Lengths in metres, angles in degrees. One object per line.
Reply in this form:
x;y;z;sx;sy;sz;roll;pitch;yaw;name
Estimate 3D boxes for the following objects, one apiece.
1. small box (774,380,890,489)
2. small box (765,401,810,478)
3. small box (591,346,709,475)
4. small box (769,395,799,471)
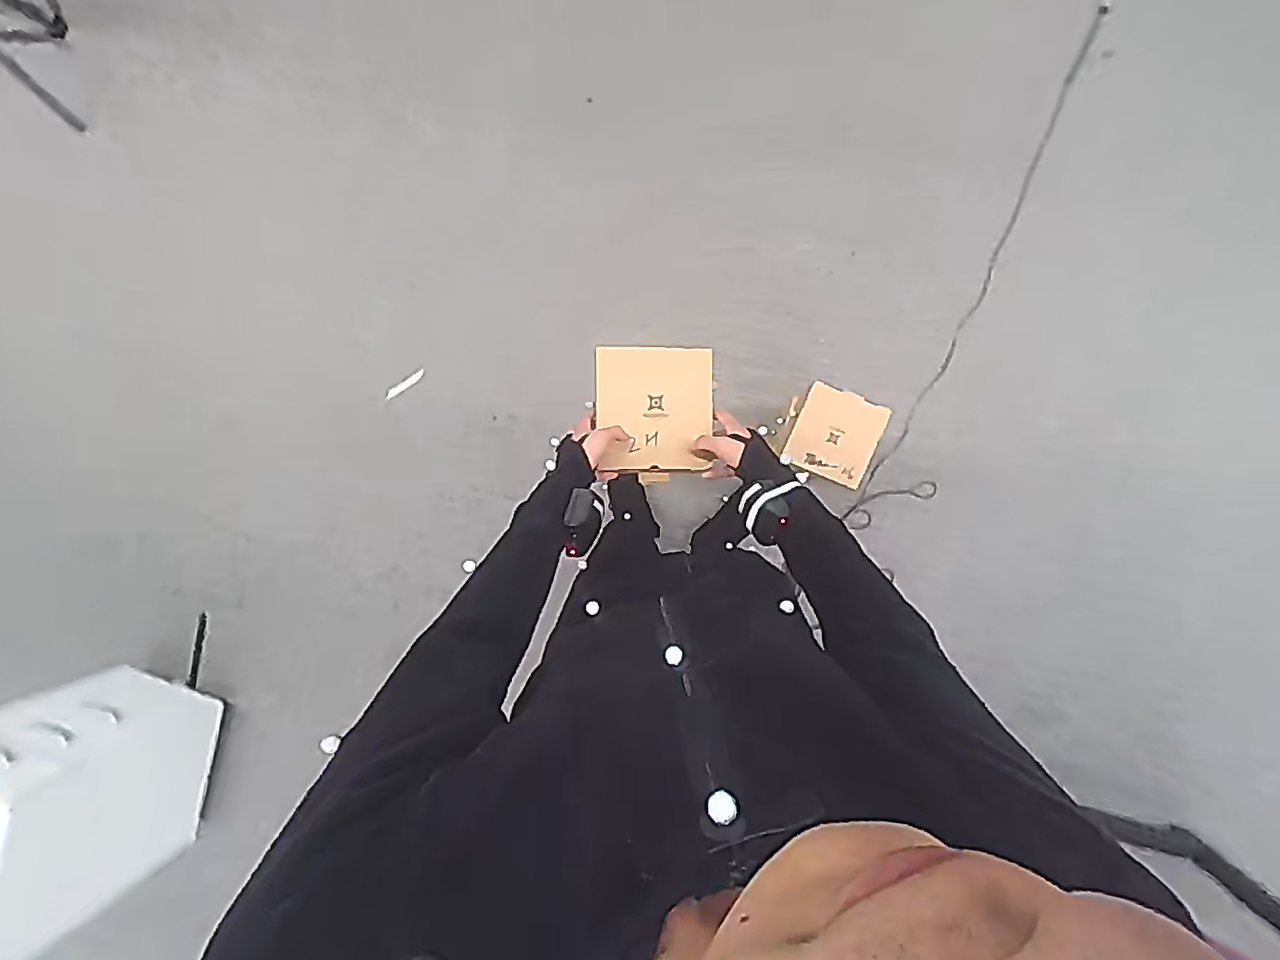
0.402;-0.093;1.171;0.168;0.176;0.179;24;94;7;small box
0.448;-0.105;1.493;0.168;0.176;0.179;15;94;8;small box
0.009;-0.098;0.837;0.168;0.176;0.179;0;90;-5;small box
0.427;-0.099;1.333;0.179;0.176;0.168;17;94;7;small box
